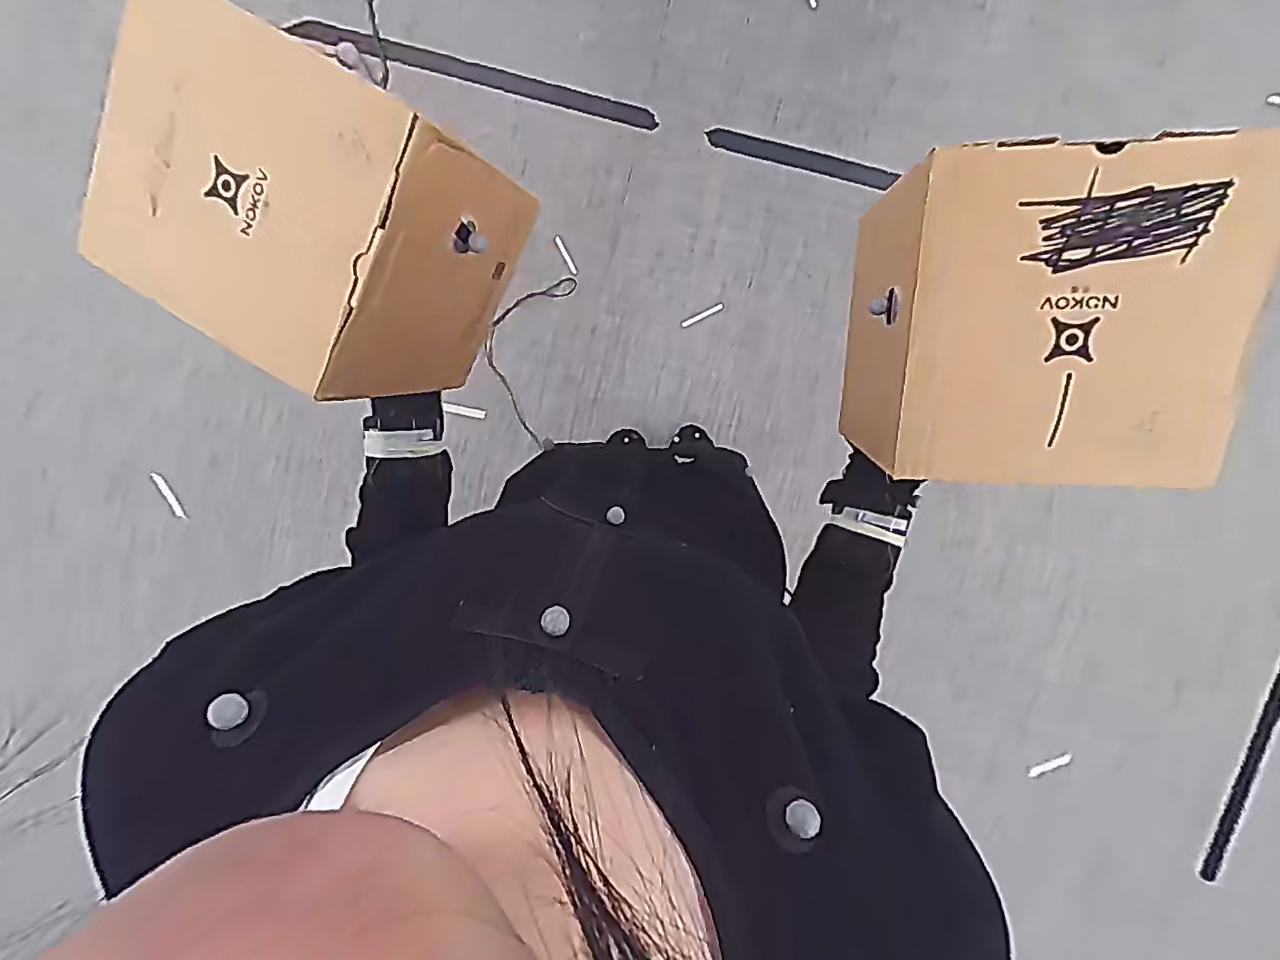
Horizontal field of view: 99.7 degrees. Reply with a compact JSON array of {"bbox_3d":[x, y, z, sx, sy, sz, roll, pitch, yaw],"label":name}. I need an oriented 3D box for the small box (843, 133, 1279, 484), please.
[{"bbox_3d":[0.243,-0.104,0.365,0.168,0.176,0.179,2,105,9],"label":"small box"}]

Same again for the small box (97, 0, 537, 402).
[{"bbox_3d":[-0.198,-0.172,0.374,0.179,0.176,0.168,30,106,4],"label":"small box"}]
